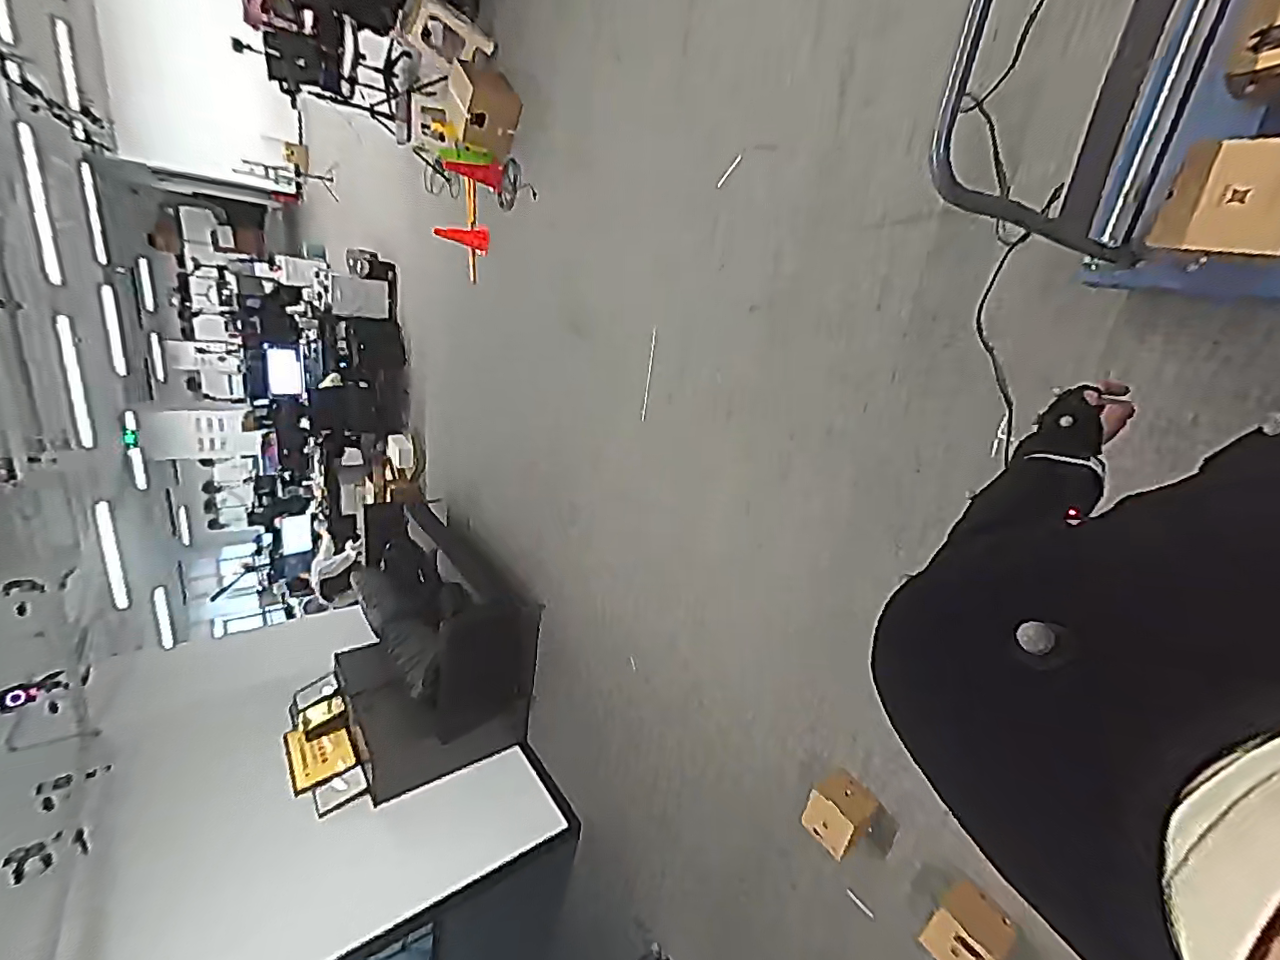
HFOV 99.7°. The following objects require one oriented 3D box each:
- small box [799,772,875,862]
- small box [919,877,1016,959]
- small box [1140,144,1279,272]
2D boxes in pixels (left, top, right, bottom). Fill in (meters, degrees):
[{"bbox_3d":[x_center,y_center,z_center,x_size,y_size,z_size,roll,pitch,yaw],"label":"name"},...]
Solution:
[{"bbox_3d":[0.693,1.170,1.892,0.168,0.176,0.179,33,119,45],"label":"small box"},{"bbox_3d":[0.969,1.330,1.592,0.168,0.176,0.179,37,124,44],"label":"small box"},{"bbox_3d":[1.027,-0.463,0.932,0.179,0.176,0.168,33,121,44],"label":"small box"}]
